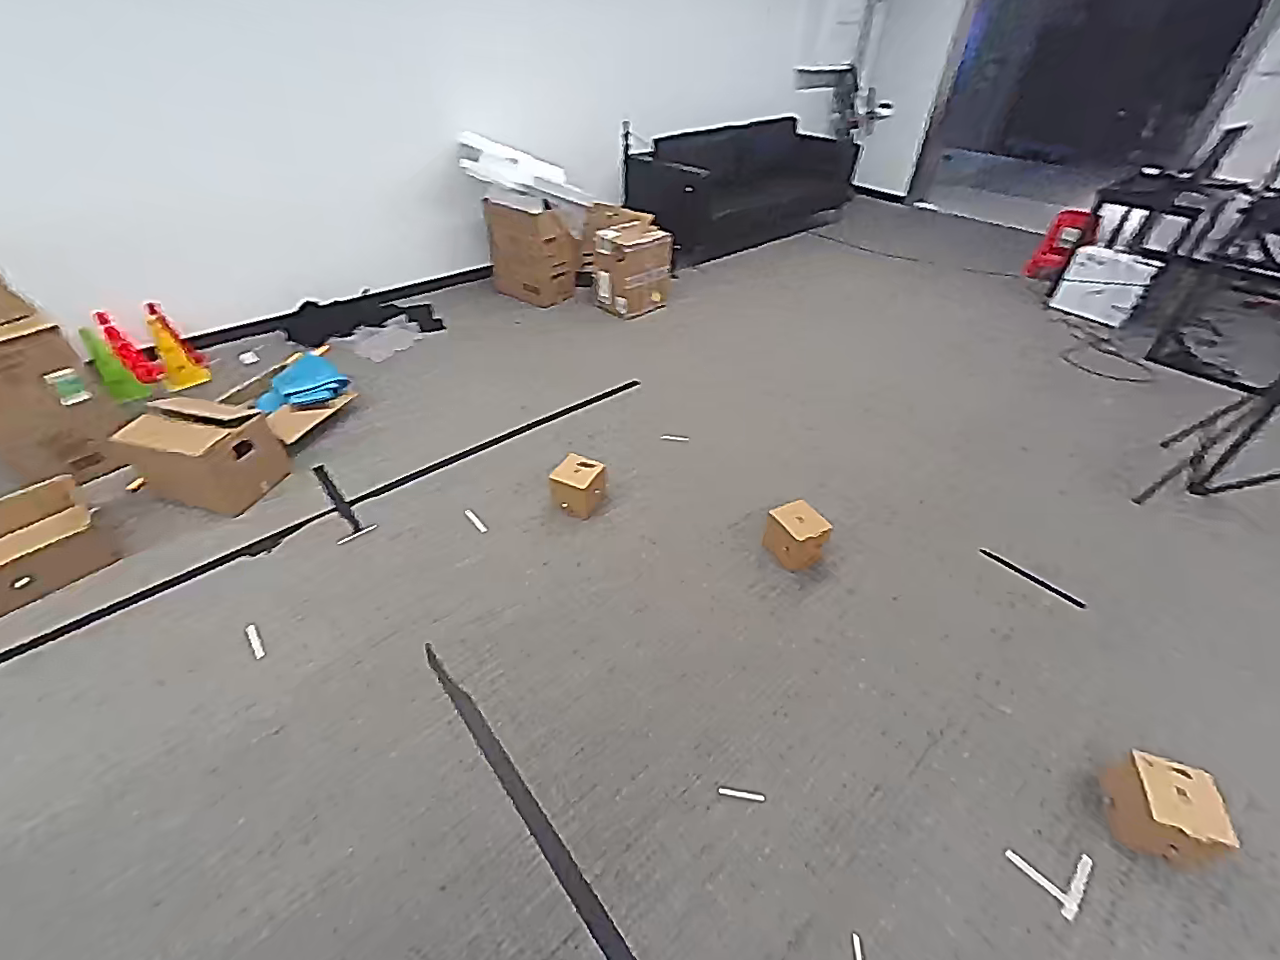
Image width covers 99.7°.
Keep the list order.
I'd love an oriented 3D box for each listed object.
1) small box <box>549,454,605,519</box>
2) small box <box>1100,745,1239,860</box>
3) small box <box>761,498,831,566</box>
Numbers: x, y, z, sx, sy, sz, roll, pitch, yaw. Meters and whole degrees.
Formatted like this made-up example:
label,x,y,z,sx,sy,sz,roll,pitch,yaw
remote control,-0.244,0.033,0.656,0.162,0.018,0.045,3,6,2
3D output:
label,x,y,z,sx,sy,sz,roll,pitch,yaw
small box,-0.255,0.028,2.211,0.168,0.176,0.179,18,44,19
small box,1.295,0.801,1.339,0.168,0.176,0.179,14,43,15
small box,0.582,0.204,2.036,0.168,0.176,0.179,-18,43,-23
